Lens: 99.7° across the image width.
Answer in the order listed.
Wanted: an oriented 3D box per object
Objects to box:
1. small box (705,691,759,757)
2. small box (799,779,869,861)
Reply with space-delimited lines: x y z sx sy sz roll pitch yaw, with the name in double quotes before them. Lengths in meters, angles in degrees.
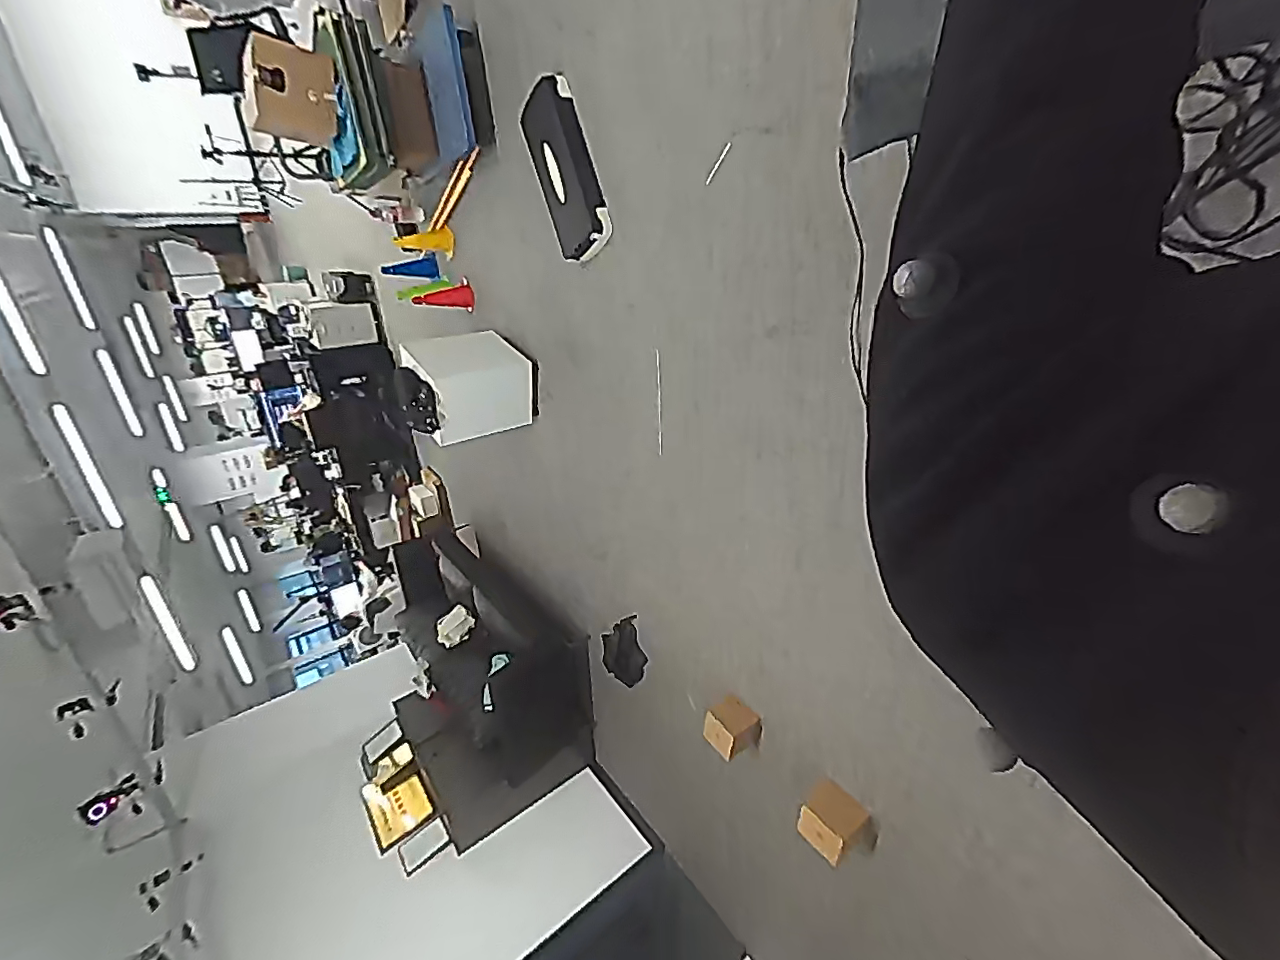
"small box" 0.412 1.082 2.413 0.168 0.176 0.179 36 135 43
"small box" 0.733 1.274 2.047 0.179 0.176 0.168 30 130 44
